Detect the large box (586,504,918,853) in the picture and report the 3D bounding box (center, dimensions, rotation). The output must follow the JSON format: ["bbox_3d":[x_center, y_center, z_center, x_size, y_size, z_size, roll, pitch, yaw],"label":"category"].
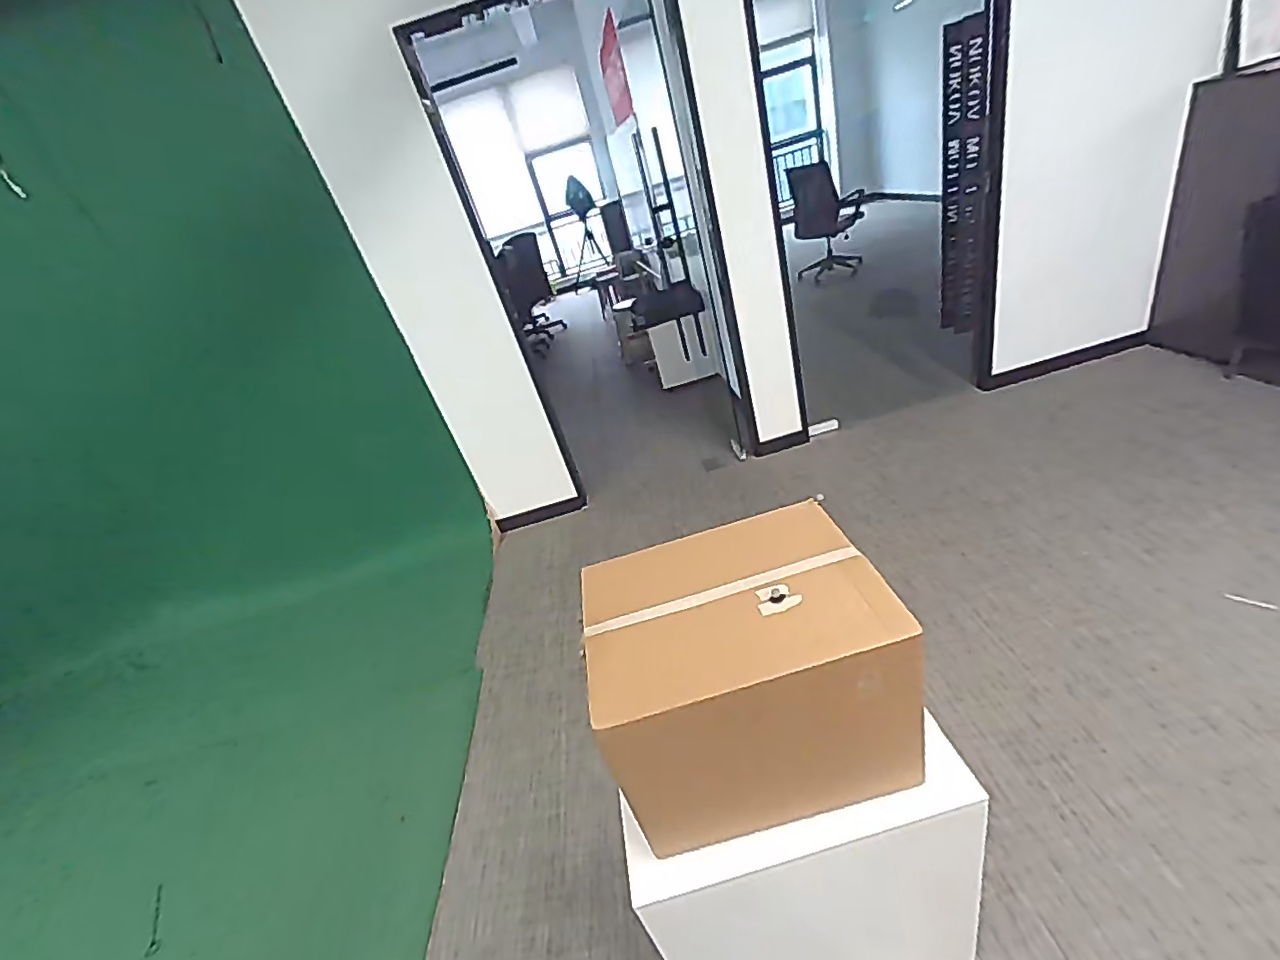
[{"bbox_3d":[0.155,0.290,0.837,0.408,0.320,0.320,-16,29,0],"label":"large box"}]
